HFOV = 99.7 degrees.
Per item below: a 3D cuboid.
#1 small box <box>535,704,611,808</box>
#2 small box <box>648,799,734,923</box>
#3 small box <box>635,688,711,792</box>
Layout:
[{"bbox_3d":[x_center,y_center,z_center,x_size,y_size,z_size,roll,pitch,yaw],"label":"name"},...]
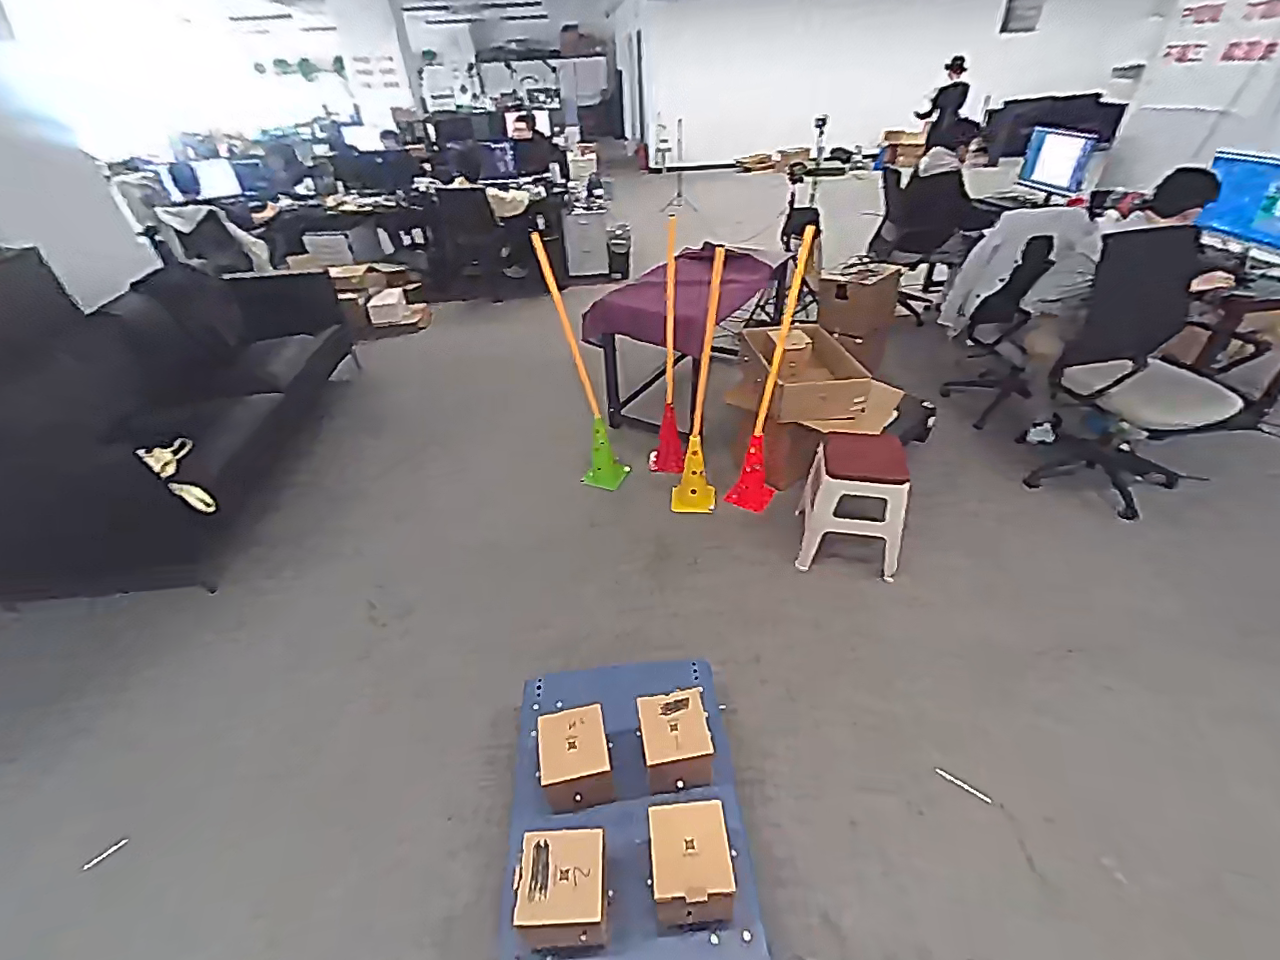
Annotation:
[{"bbox_3d":[-0.170,0.710,1.382,0.168,0.176,0.179,-9,38,-8],"label":"small box"},{"bbox_3d":[0.105,0.840,1.195,0.168,0.176,0.179,-5,38,-2],"label":"small box"},{"bbox_3d":[0.082,0.676,1.407,0.168,0.176,0.179,-8,39,-5],"label":"small box"}]
